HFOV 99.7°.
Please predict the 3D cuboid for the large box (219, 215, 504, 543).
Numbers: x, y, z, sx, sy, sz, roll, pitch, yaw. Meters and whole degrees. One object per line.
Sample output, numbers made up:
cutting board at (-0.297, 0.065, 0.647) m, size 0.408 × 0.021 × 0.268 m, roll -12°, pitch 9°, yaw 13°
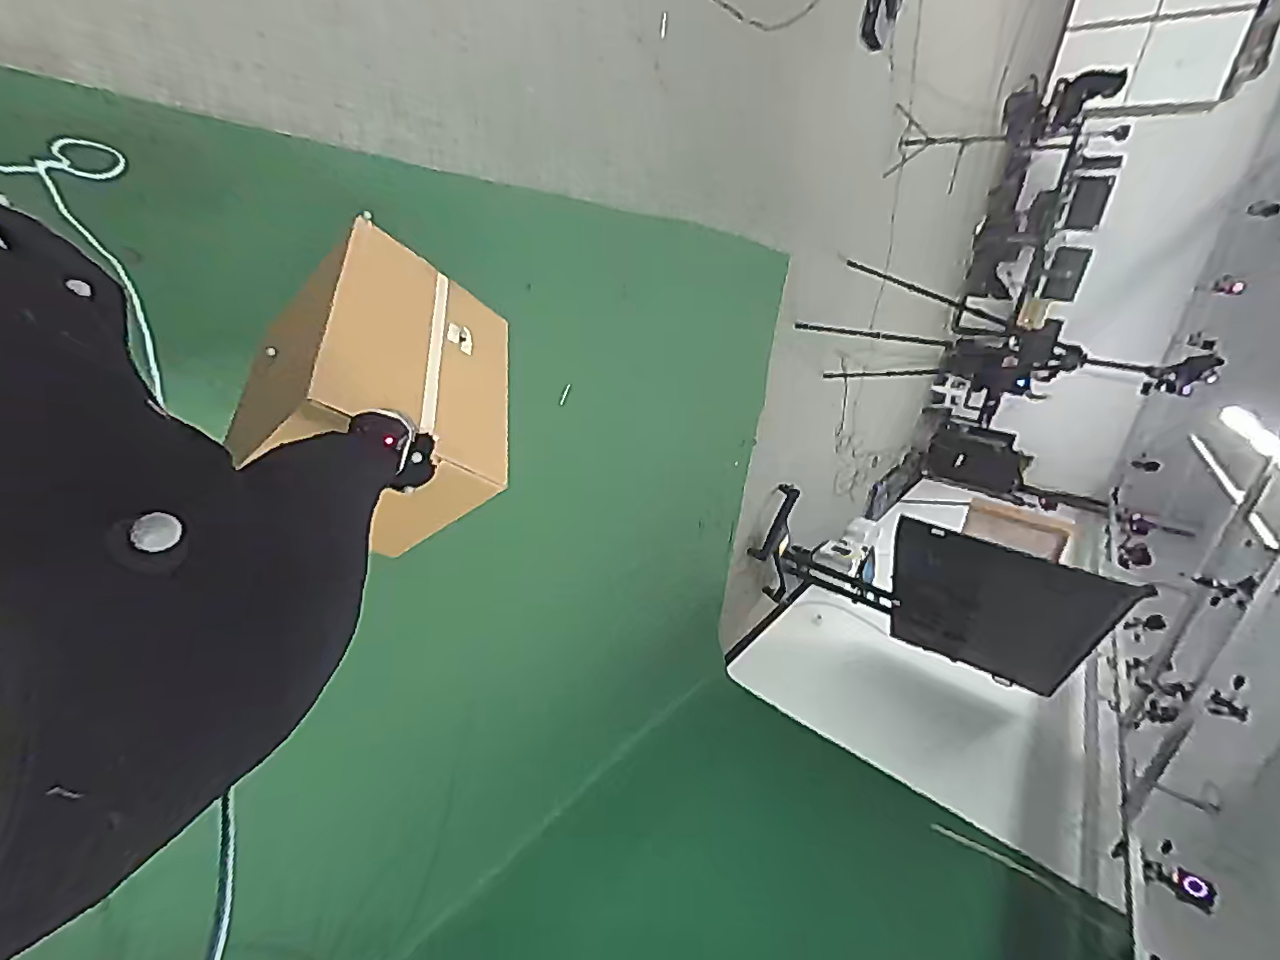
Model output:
large box at (-0.463, -0.153, 0.954) m, size 0.320 × 0.320 × 0.408 m, roll 31°, pitch 39°, yaw -45°
